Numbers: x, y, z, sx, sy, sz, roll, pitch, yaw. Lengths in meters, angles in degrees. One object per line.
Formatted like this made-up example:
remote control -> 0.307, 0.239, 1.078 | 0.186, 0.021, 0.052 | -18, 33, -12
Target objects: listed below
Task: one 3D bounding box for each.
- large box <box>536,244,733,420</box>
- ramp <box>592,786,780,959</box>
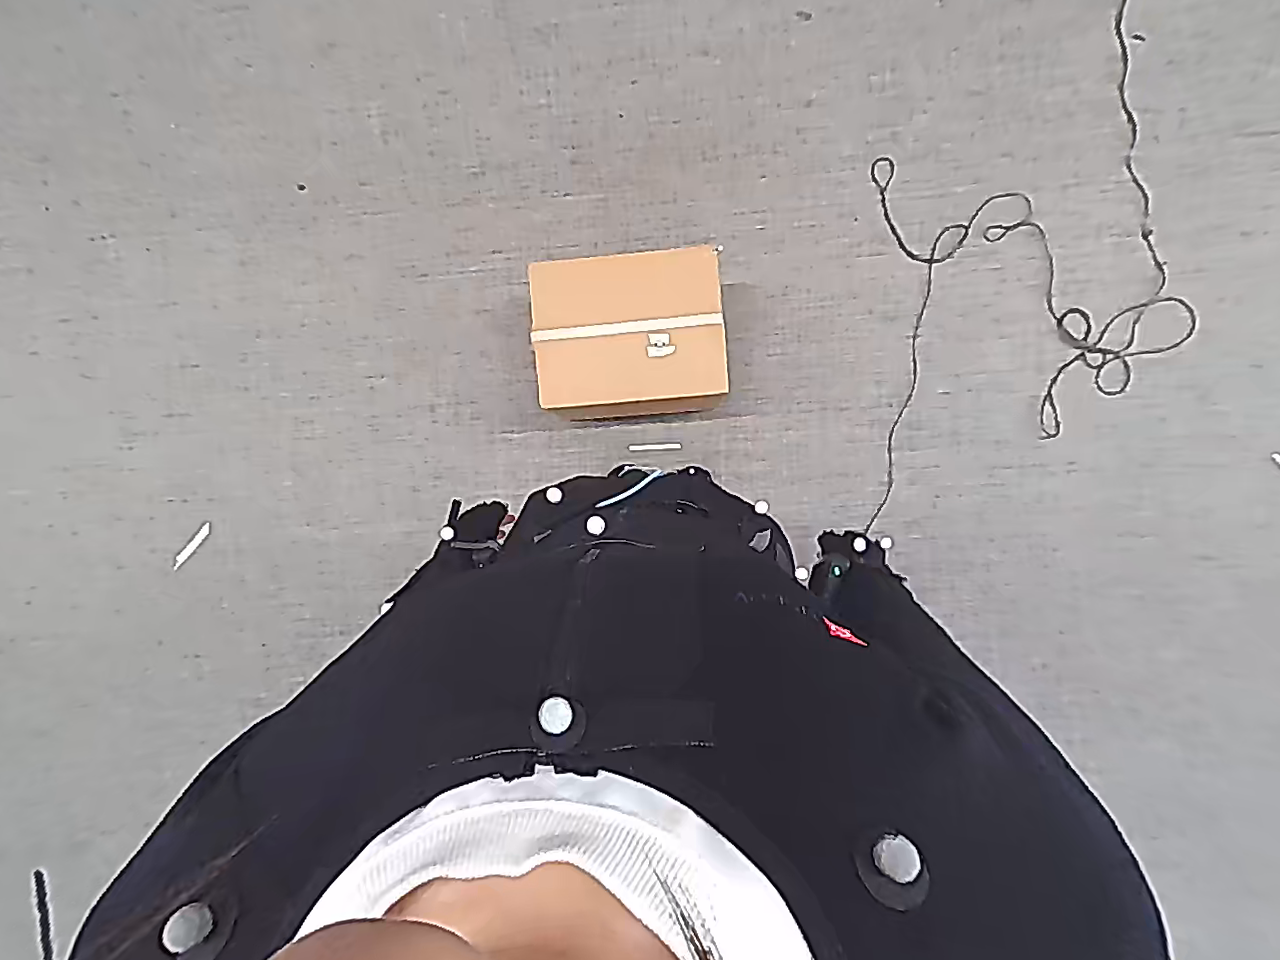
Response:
large box -> -0.008, -0.329, 1.298 | 0.408, 0.320, 0.320 | -5, 92, 3
ramp -> 0.116, 1.329, 1.392 | 0.509, 0.206, 0.991 | -2, 91, 5
